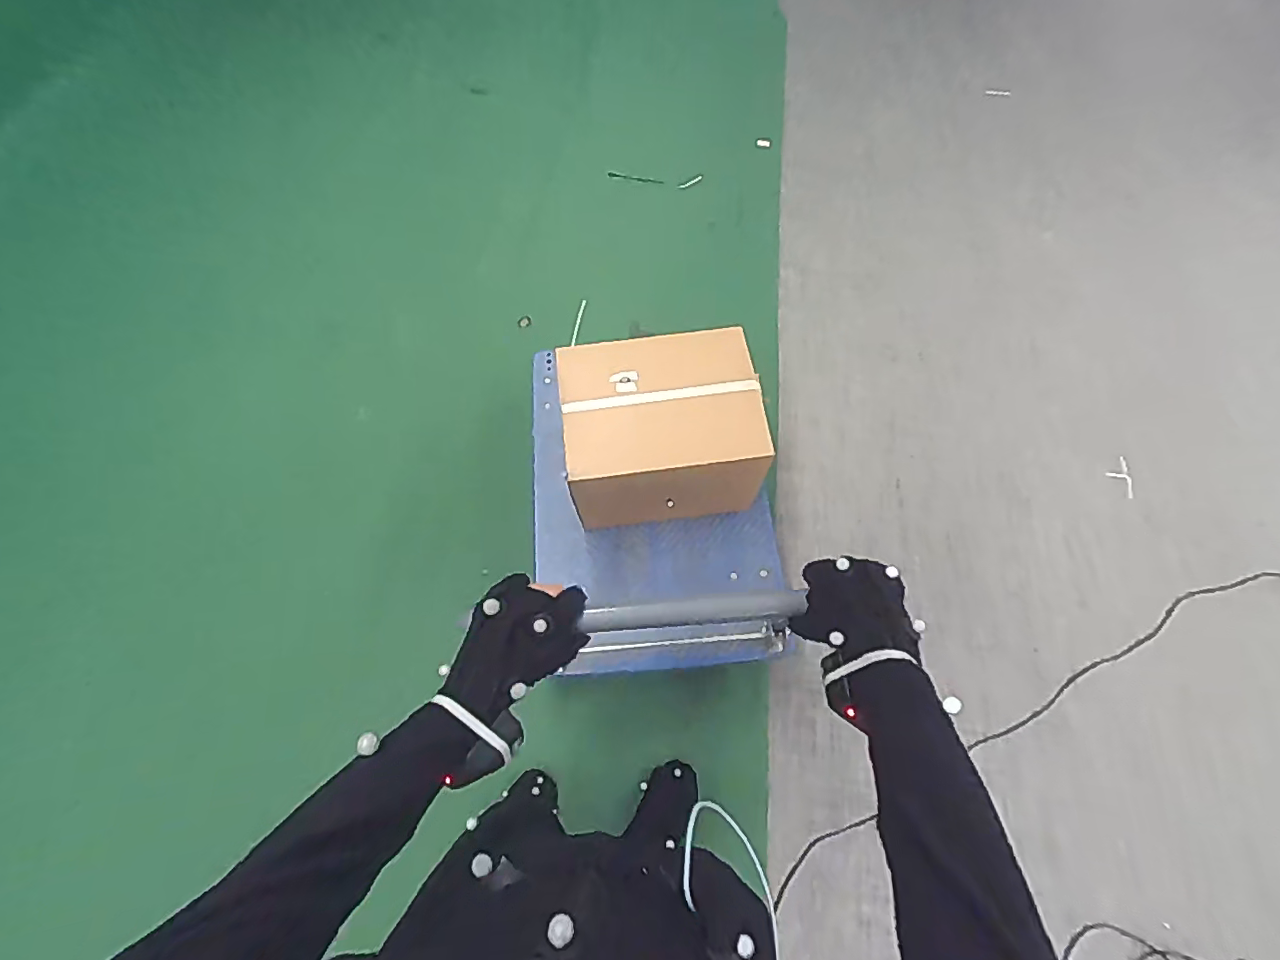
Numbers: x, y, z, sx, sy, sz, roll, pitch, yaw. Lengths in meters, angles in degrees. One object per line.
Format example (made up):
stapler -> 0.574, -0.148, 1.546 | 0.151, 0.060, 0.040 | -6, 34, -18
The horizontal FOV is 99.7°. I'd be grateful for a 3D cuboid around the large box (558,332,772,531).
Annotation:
large box -> 0.047, -0.096, 1.246 | 0.408, 0.320, 0.320 | -8, 66, -2
